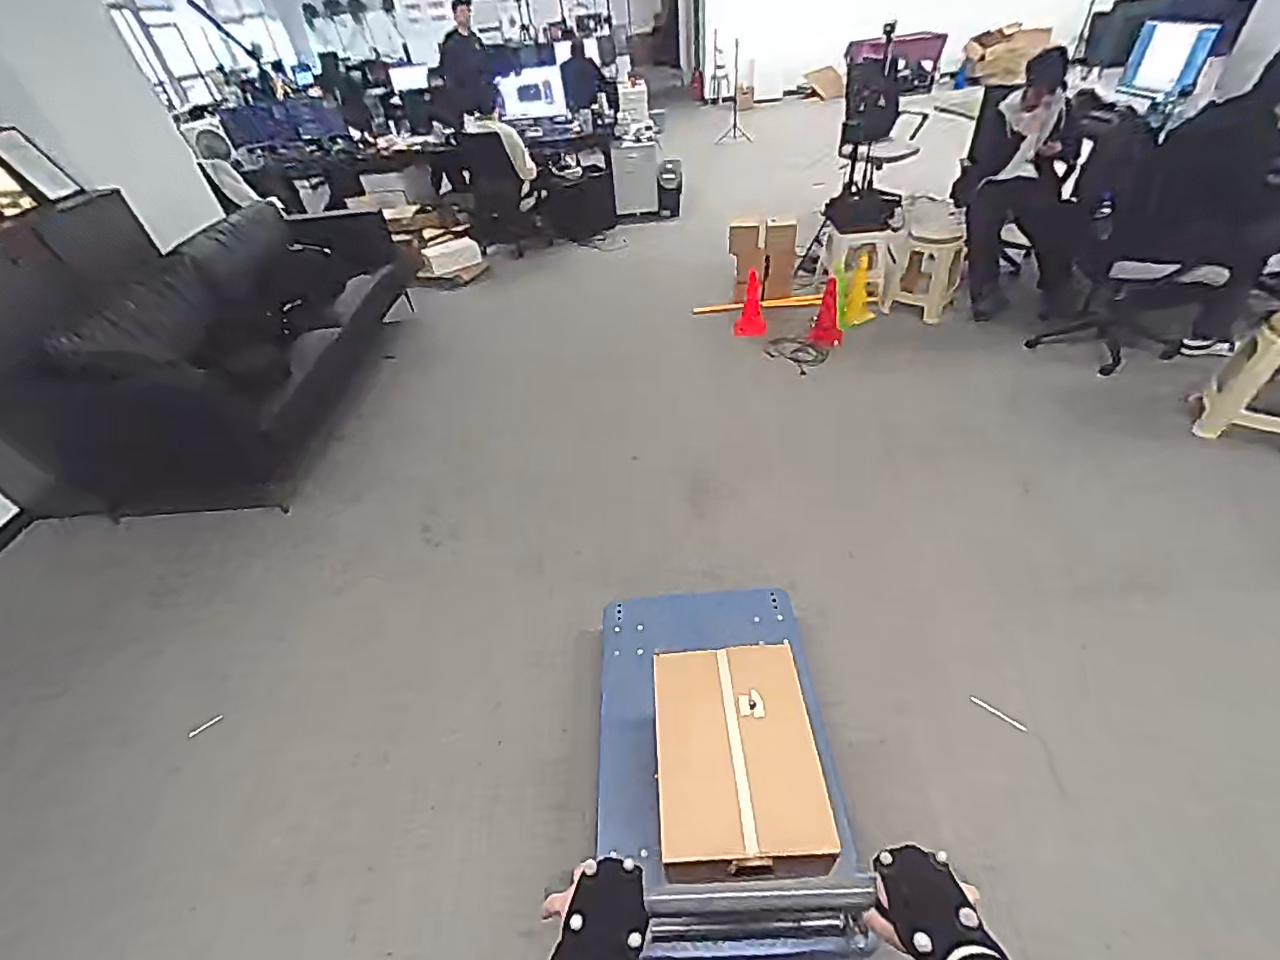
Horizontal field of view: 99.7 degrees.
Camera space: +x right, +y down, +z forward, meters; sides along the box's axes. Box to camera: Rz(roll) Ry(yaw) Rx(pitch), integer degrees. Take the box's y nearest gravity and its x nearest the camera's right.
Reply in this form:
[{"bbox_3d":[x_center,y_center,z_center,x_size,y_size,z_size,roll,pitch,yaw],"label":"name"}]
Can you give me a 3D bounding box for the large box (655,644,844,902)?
[{"bbox_3d":[0.209,0.625,1.172,0.320,0.320,0.408,-5,41,2],"label":"large box"}]
